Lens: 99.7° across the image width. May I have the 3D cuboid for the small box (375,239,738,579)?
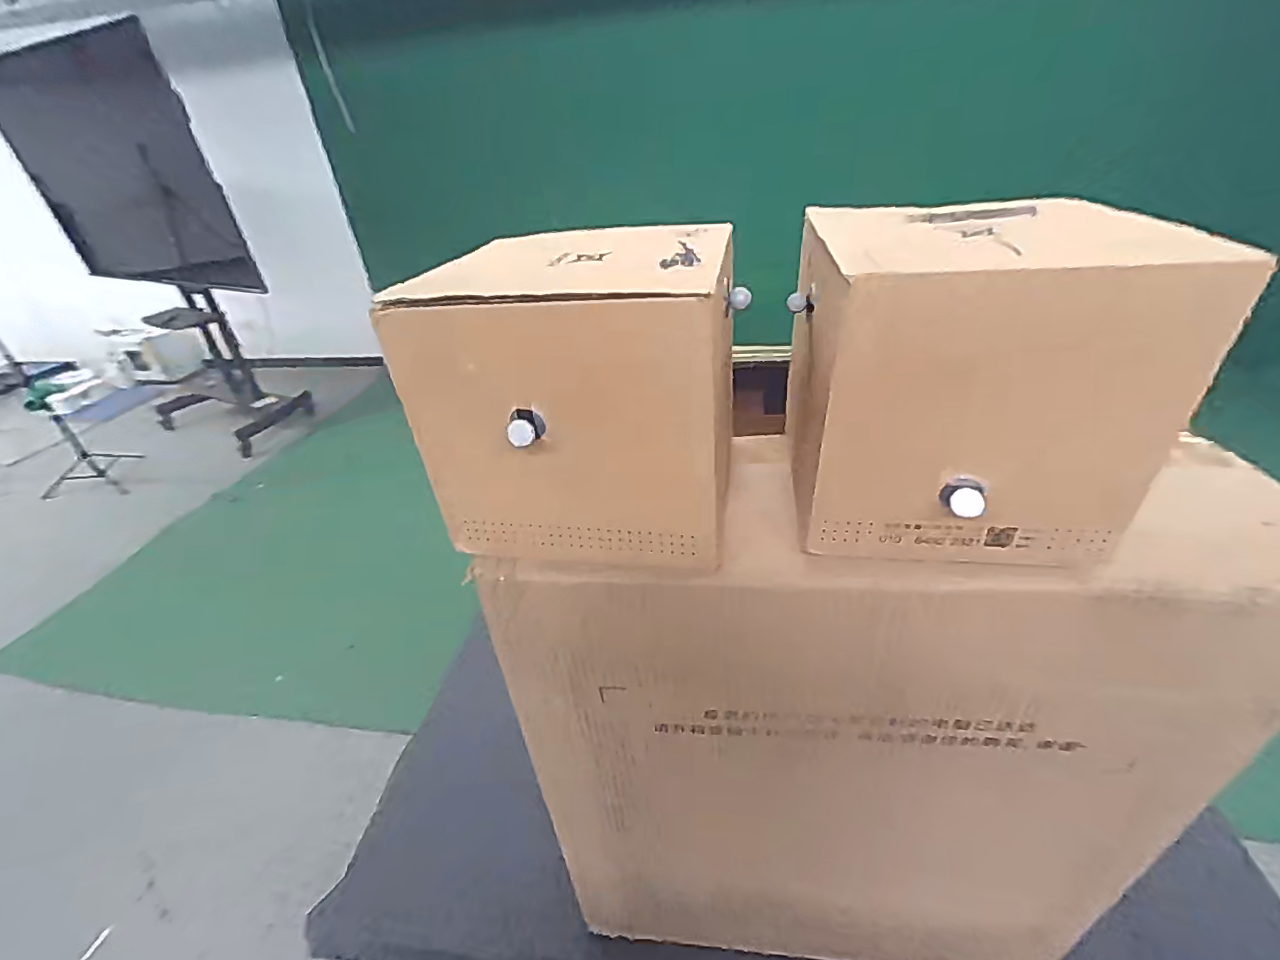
[{"bbox_3d":[-0.029,-0.052,0.361,0.179,0.176,0.168,3,36,11],"label":"small box"}]
